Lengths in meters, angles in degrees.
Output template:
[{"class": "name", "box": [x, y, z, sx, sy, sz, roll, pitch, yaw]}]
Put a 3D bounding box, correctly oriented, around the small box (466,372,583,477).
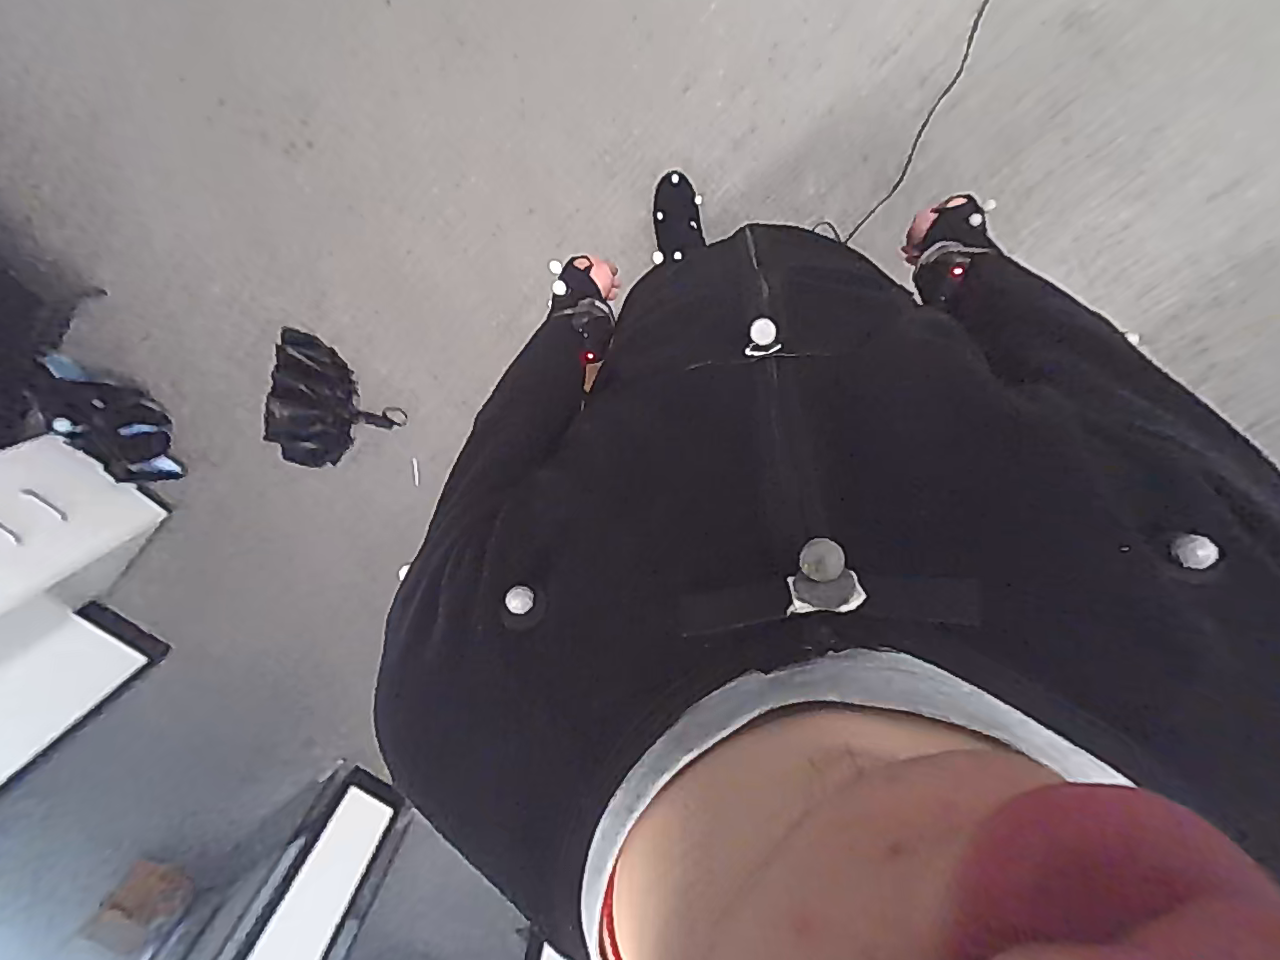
[{"class": "small box", "box": [-0.250, -0.118, 1.217, 0.179, 0.176, 0.168, 36, 116, -11]}]
